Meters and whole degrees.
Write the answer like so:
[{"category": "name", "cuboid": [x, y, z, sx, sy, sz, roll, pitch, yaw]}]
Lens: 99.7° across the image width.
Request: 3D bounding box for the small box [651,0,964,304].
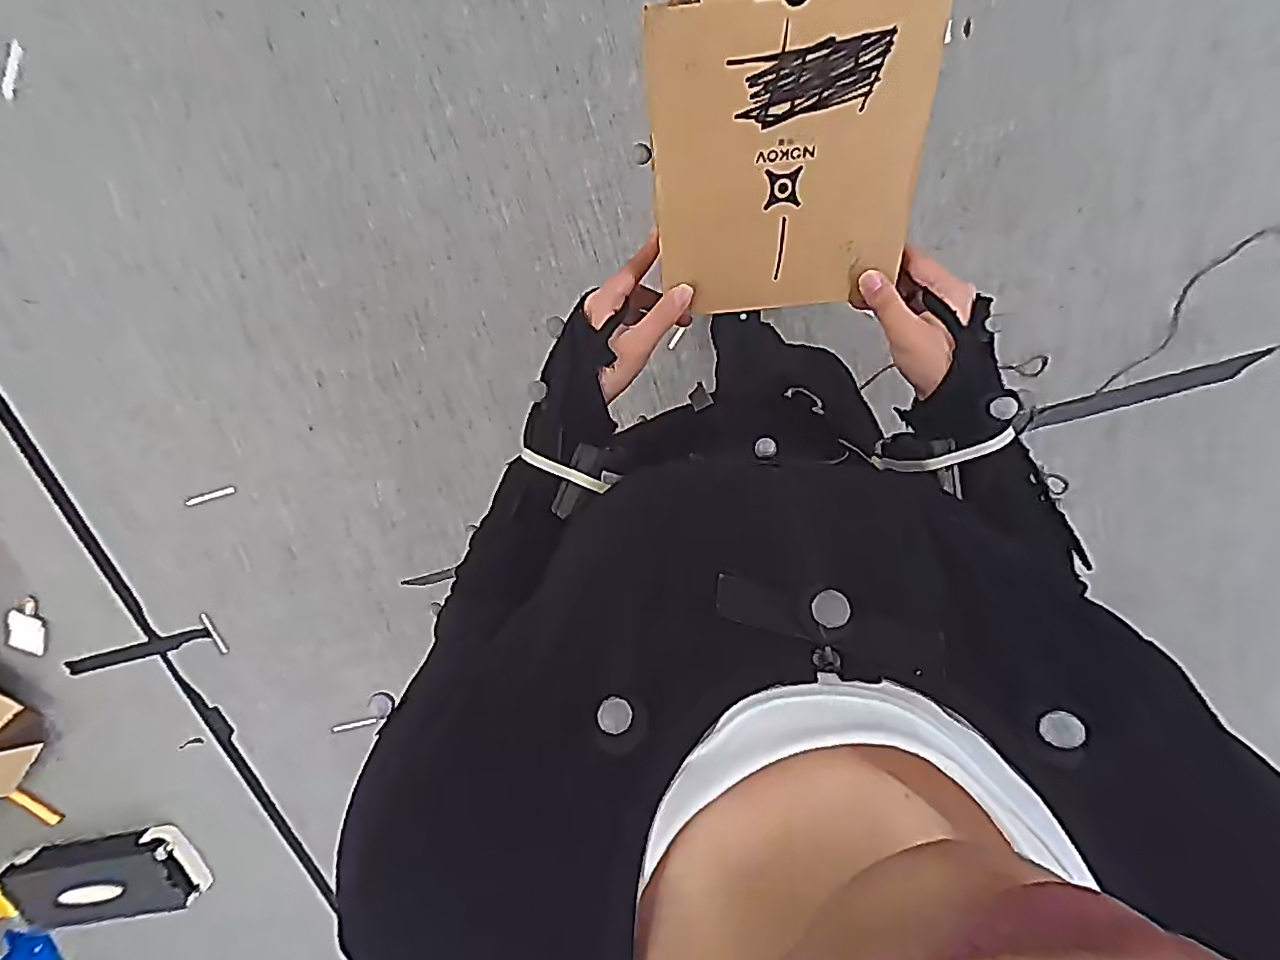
[{"category": "small box", "cuboid": [0.096, -0.248, 0.394, 0.168, 0.176, 0.179, -4, 129, 3]}]
